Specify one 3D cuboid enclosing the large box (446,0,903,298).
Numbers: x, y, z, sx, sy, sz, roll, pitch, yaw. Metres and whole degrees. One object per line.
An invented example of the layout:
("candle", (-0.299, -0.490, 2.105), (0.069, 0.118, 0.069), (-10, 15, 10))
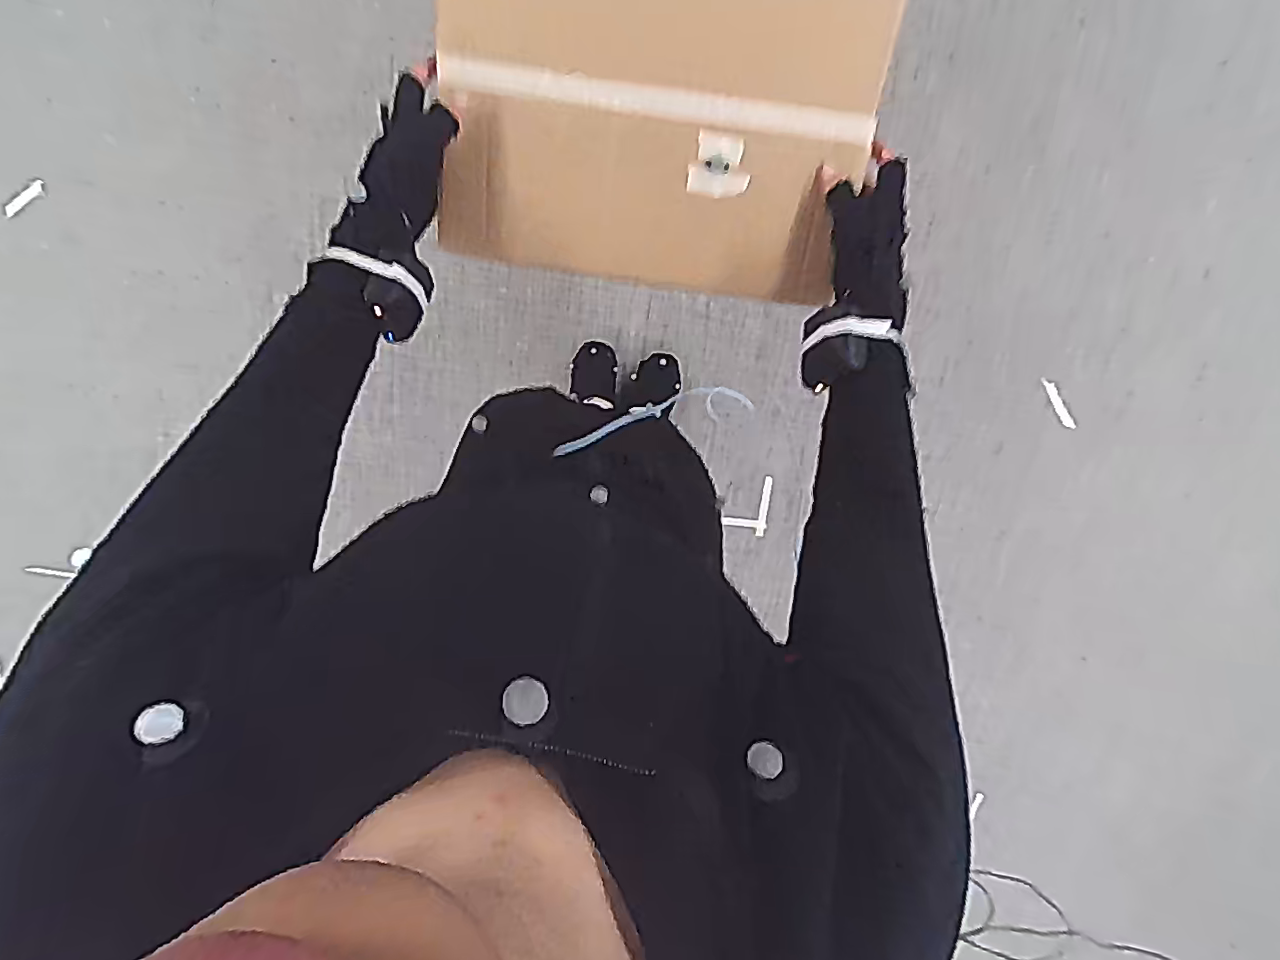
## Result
("large box", (0.022, -0.408, 0.637), (0.408, 0.320, 0.320), (8, 113, -1))
